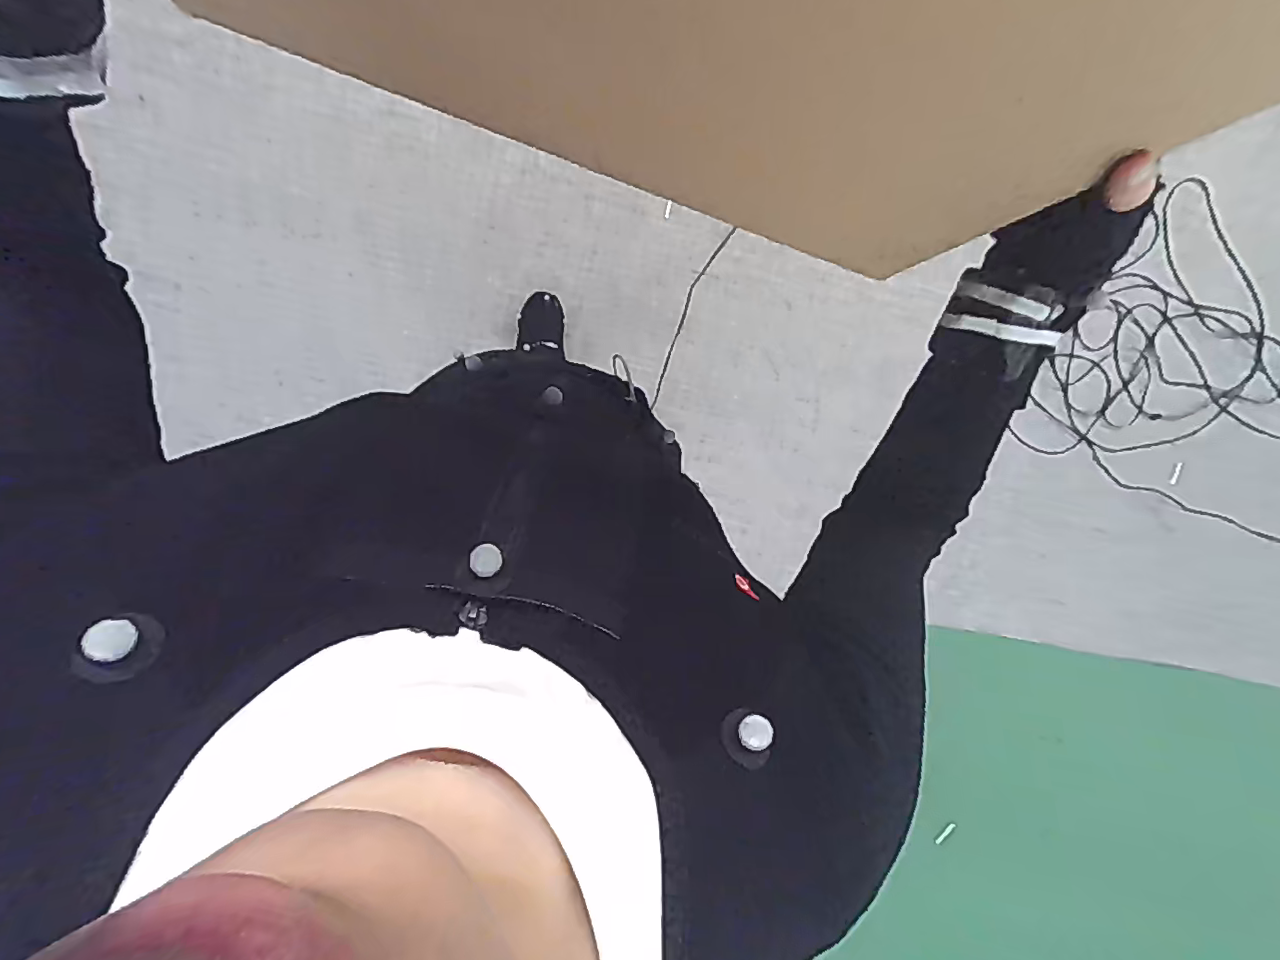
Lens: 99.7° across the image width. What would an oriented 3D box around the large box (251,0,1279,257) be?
[{"bbox_3d":[0.080,-0.332,0.184,0.408,0.320,0.320,6,85,-29],"label":"large box"}]
